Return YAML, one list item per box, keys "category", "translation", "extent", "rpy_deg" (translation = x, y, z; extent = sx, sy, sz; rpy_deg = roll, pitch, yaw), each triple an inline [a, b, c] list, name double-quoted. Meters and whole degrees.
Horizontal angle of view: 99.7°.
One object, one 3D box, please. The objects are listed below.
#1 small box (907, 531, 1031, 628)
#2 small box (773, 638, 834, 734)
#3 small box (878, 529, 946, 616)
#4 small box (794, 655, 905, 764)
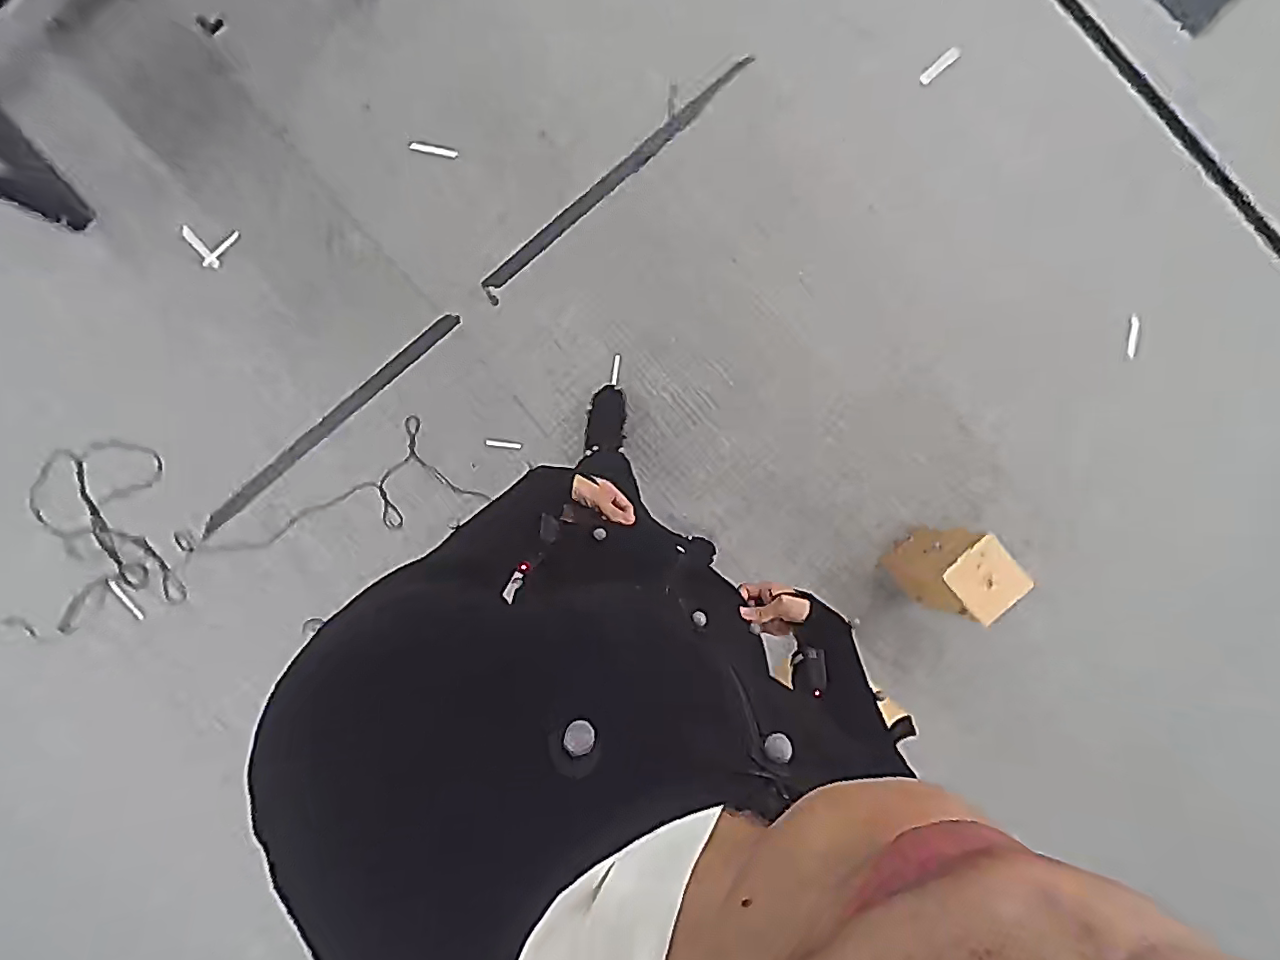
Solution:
- category: "small box"
  translation: [0.842, 0.249, 1.401]
  extent: [0.168, 0.176, 0.179]
  rpy_deg: [-40, 90, -2]
- category: "small box"
  translation: [0.512, 0.581, 1.558]
  extent: [0.168, 0.176, 0.179]
  rpy_deg: [-44, 92, -1]
- category: "small box"
  translation: [0.835, 0.258, 1.565]
  extent: [0.168, 0.176, 0.179]
  rpy_deg: [-39, 91, -2]
- category: "small box"
  translation: [0.529, 0.578, 1.394]
  extent: [0.168, 0.176, 0.179]
  rpy_deg: [-44, 92, -1]
